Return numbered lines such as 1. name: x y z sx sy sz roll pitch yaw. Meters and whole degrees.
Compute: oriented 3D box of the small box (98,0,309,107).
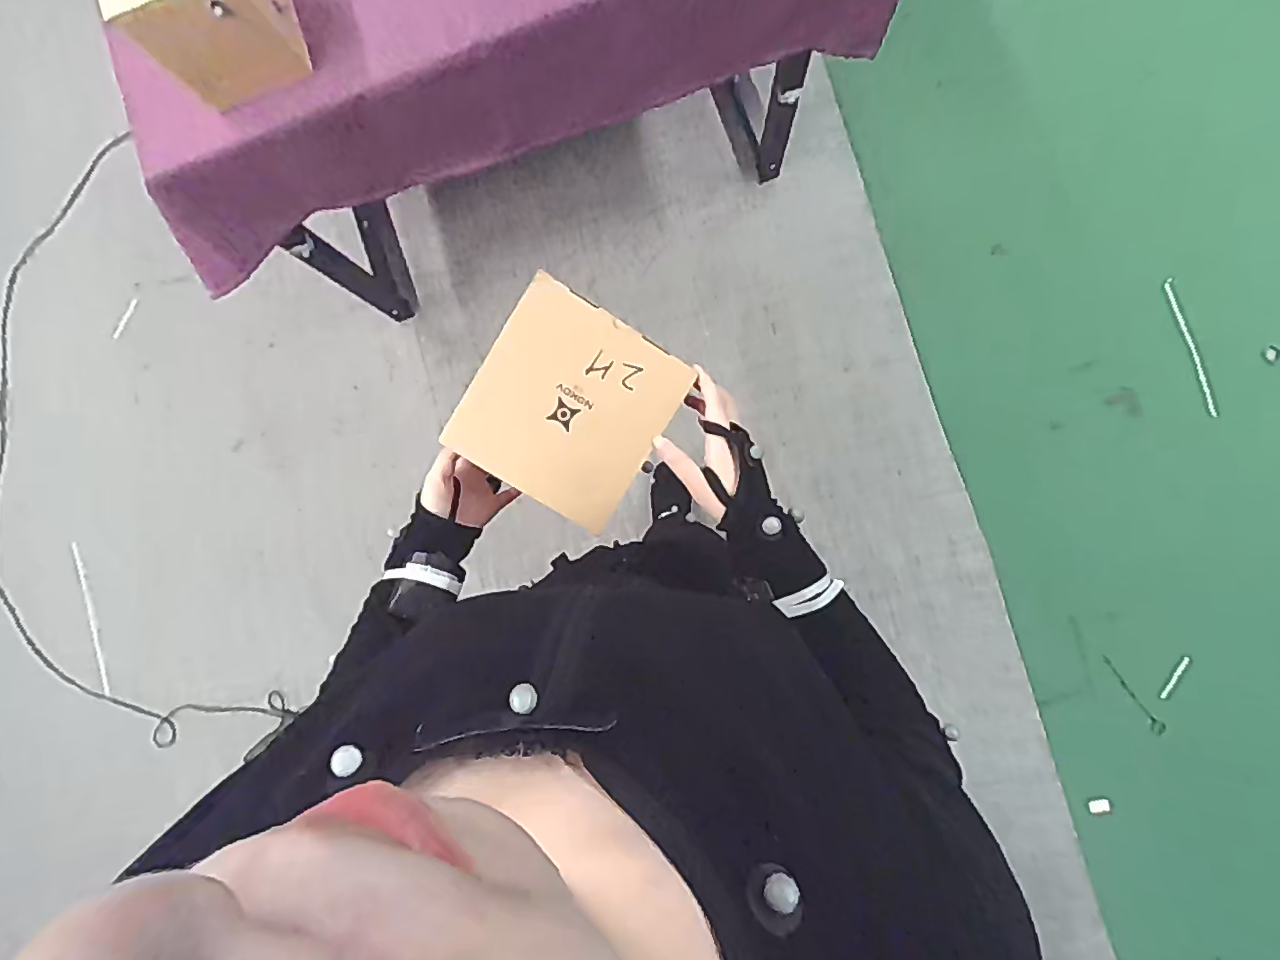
1. small box: -0.627 -0.687 0.778 0.179 0.176 0.168 -19 85 2
